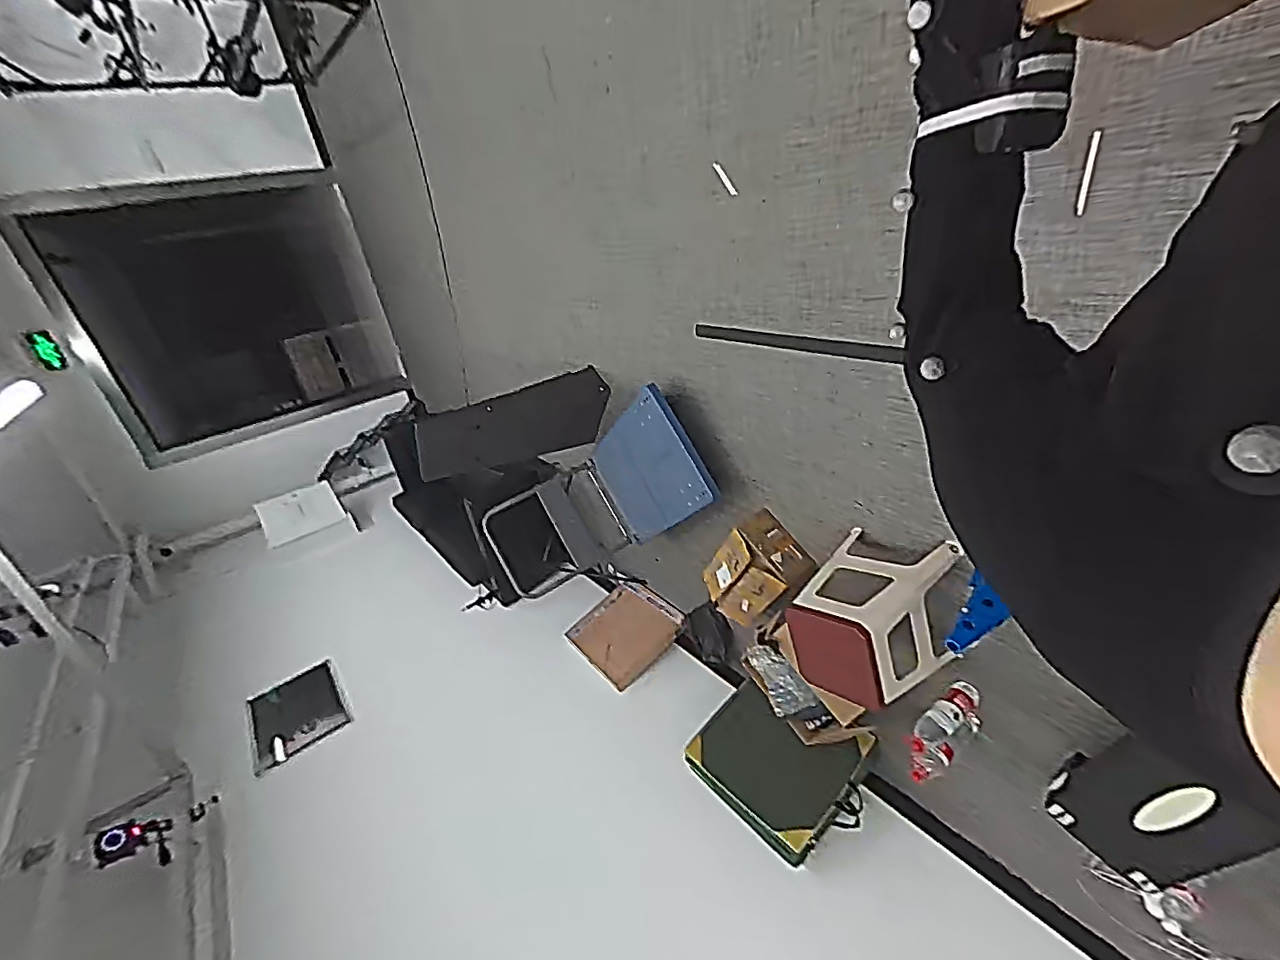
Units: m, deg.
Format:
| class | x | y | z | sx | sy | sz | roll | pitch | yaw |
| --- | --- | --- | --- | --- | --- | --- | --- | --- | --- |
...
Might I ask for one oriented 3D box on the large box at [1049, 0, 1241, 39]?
| class | x | y | z | sx | sy | sz | roll | pitch | yaw |
| --- | --- | --- | --- | --- | --- | --- | --- | --- | --- |
| large box | 0.444 | -0.515 | 0.251 | 0.408 | 0.320 | 0.320 | -2 | 110 | 56 |
